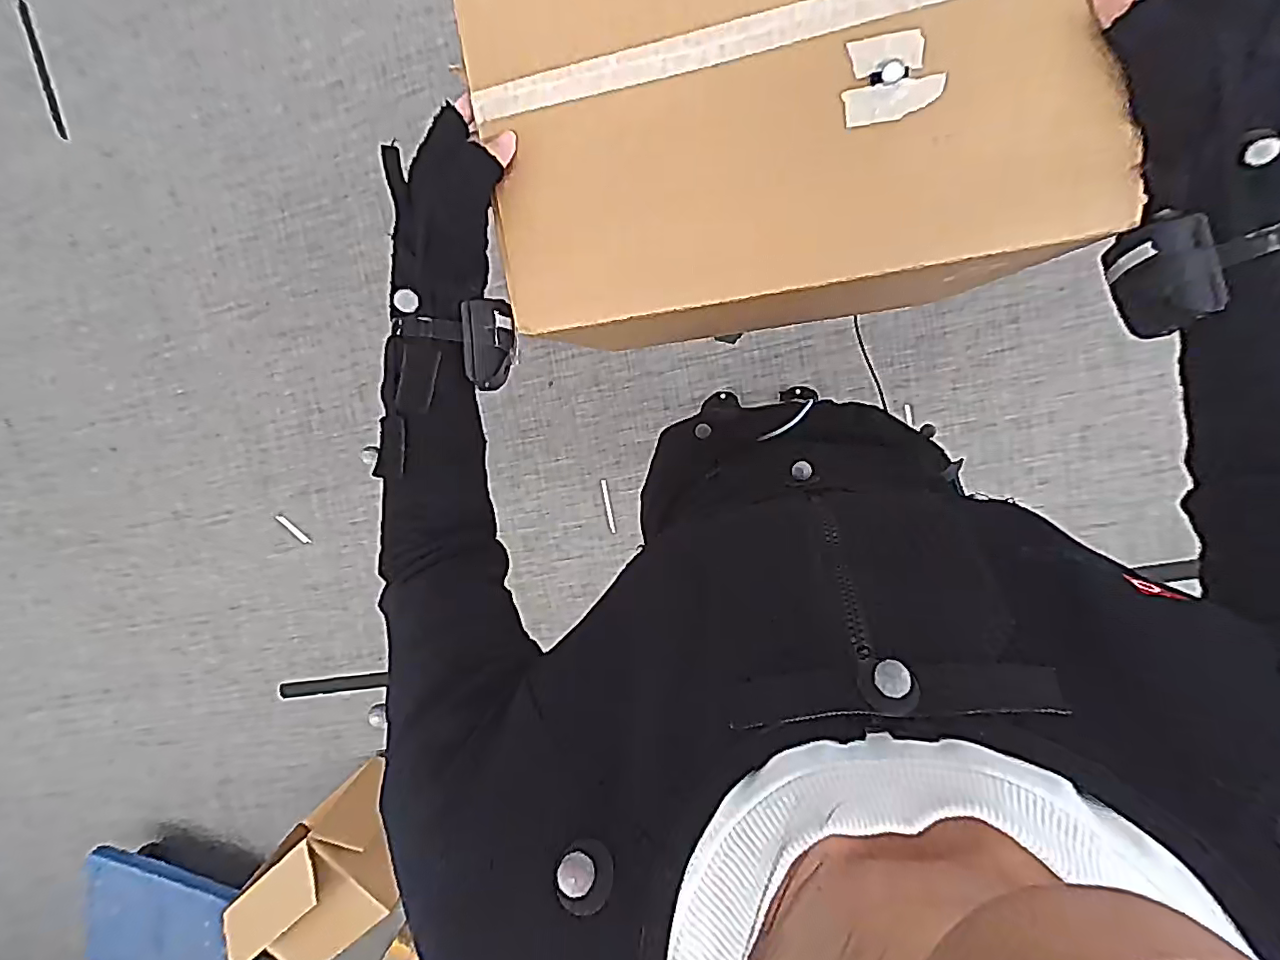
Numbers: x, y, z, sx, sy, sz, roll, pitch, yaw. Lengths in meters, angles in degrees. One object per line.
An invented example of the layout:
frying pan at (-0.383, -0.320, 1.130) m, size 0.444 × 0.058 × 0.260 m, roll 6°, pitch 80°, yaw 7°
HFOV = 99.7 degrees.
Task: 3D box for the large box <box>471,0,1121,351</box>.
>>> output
large box at (0.108, -0.315, 0.498) m, size 0.408 × 0.320 × 0.320 m, roll -7°, pitch 100°, yaw 10°
